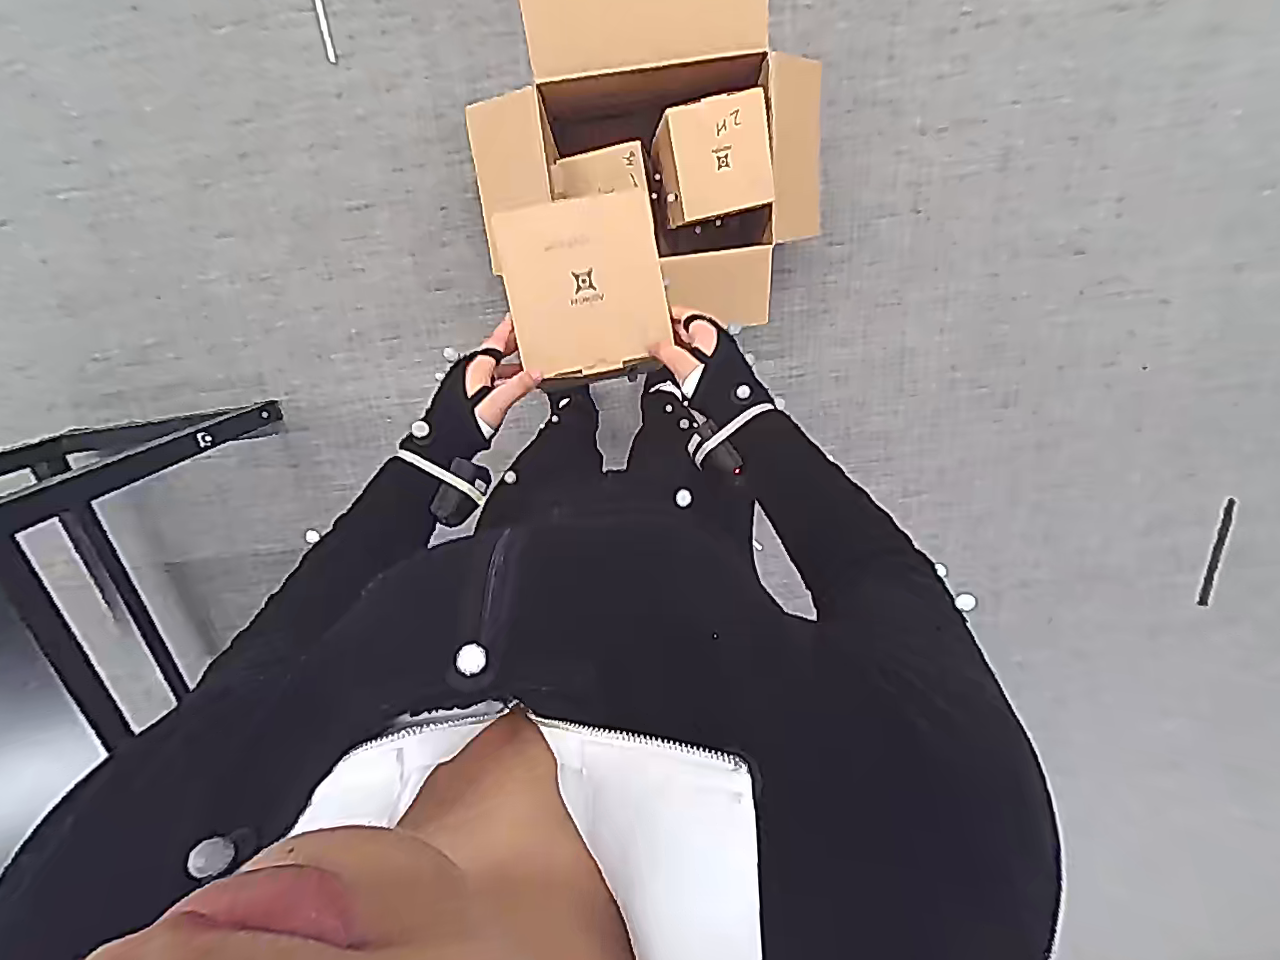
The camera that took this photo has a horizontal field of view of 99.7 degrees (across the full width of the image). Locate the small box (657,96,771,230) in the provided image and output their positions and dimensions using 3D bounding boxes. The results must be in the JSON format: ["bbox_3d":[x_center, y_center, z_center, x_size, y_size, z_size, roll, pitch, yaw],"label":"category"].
[{"bbox_3d":[0.132,-0.570,0.998,0.168,0.176,0.179,-13,111,0],"label":"small box"}]

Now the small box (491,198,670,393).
[{"bbox_3d":[-0.067,-0.206,0.655,0.168,0.176,0.179,-12,95,-4],"label":"small box"}]
